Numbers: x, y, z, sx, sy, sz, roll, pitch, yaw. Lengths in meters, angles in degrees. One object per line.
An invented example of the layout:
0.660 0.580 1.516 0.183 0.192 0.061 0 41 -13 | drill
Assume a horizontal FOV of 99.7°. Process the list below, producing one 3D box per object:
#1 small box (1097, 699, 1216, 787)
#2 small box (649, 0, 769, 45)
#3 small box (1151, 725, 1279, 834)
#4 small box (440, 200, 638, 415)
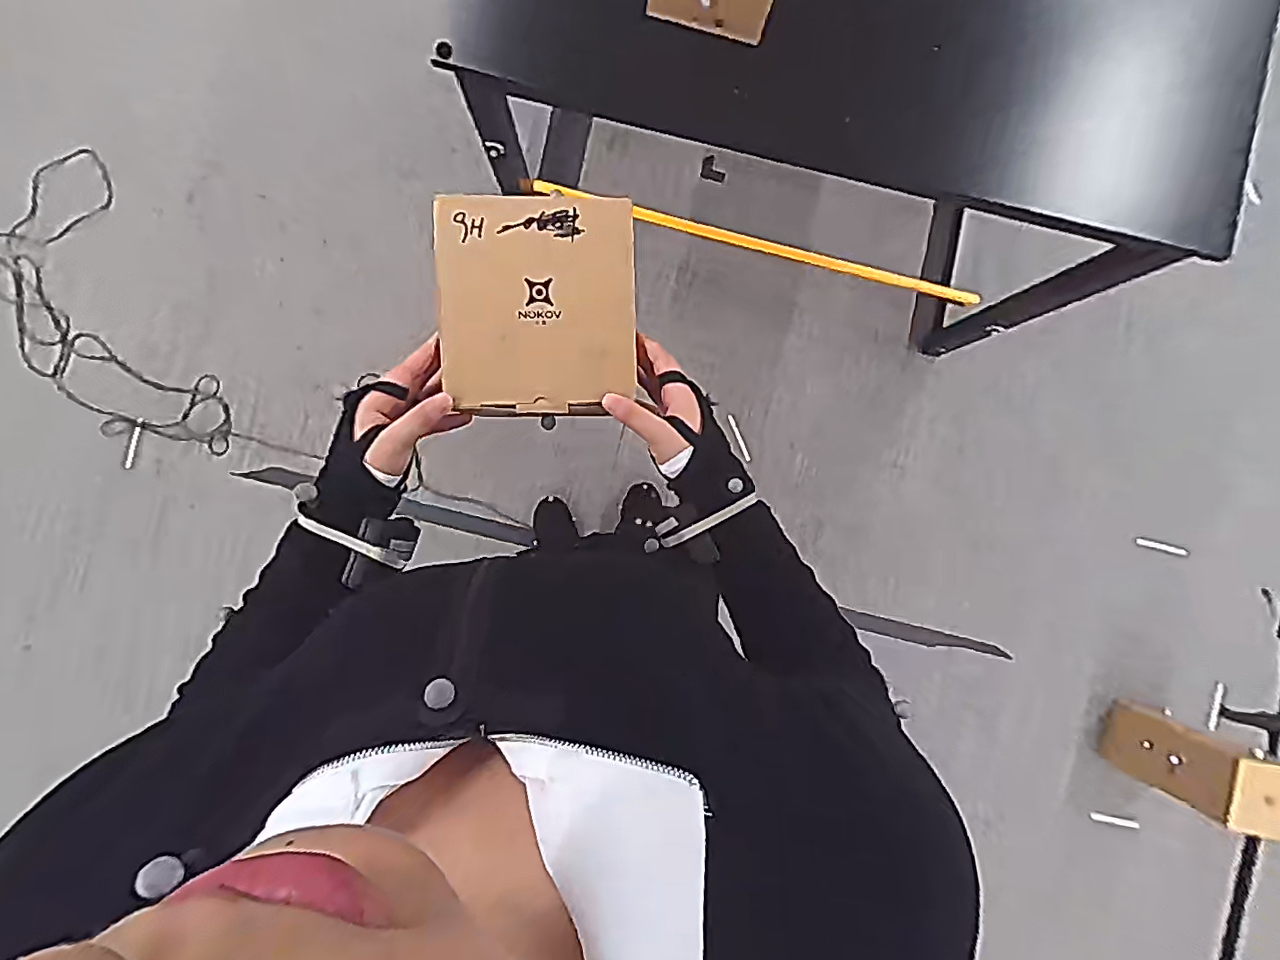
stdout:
1.420 0.731 1.488 0.168 0.176 0.179 16 91 -2 | small box
0.110 -0.730 0.700 0.168 0.176 0.179 14 89 -2 | small box
1.429 0.726 1.326 0.179 0.176 0.168 11 88 -1 | small box
-0.090 -0.153 0.537 0.168 0.176 0.179 -2 95 -6 | small box
